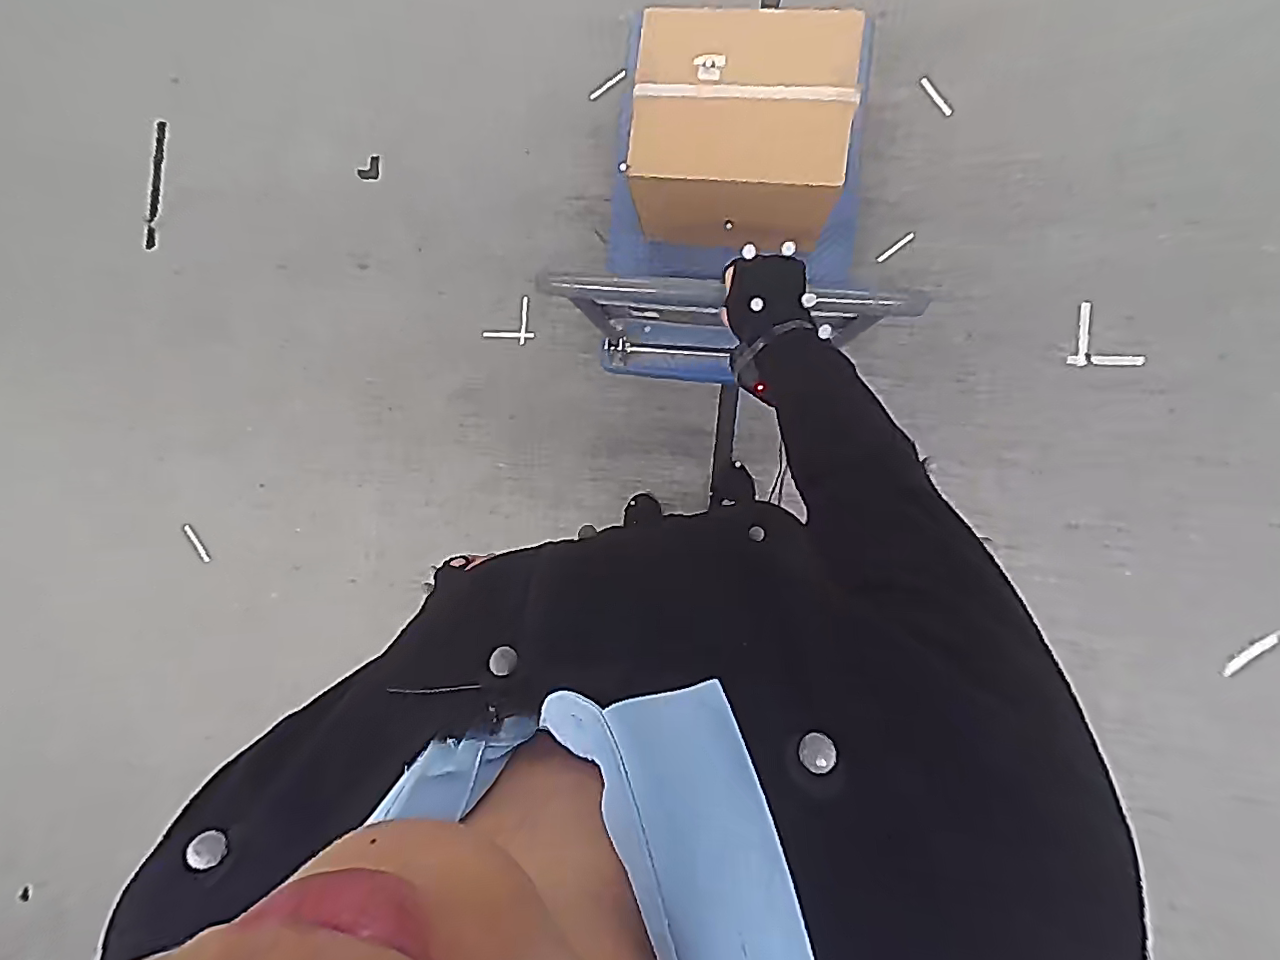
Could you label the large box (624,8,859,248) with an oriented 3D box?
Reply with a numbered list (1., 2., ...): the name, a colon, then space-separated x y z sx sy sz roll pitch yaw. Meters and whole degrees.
1. large box: 0.204 -0.703 1.133 0.408 0.320 0.320 7 91 9
